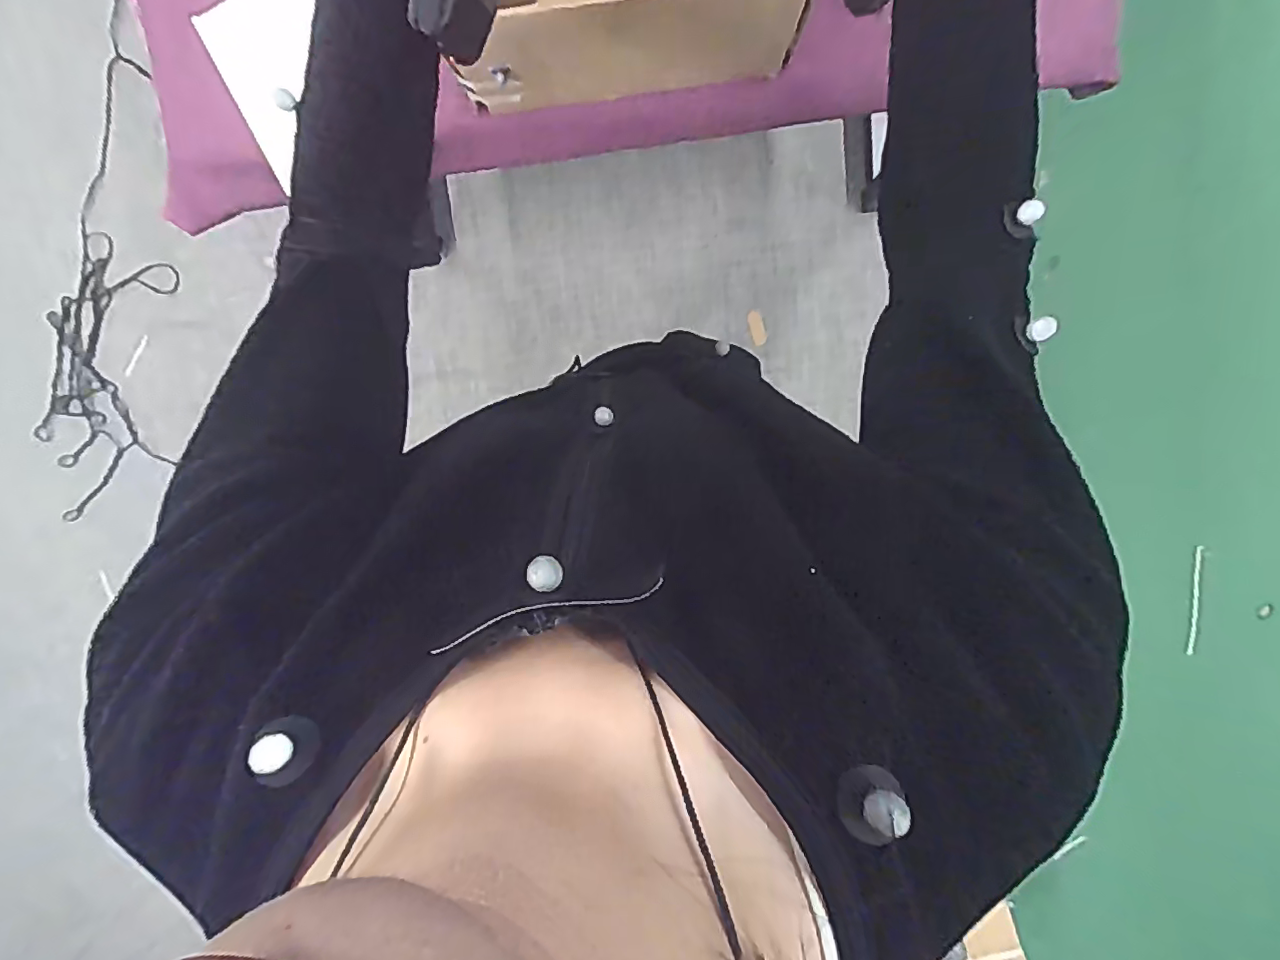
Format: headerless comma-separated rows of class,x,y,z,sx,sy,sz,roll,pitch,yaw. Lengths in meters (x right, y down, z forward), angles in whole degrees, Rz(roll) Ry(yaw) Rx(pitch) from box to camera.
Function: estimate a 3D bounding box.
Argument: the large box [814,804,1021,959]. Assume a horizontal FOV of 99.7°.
large box,0.765,1.204,1.525,0.408,0.320,0.320,-20,99,6
